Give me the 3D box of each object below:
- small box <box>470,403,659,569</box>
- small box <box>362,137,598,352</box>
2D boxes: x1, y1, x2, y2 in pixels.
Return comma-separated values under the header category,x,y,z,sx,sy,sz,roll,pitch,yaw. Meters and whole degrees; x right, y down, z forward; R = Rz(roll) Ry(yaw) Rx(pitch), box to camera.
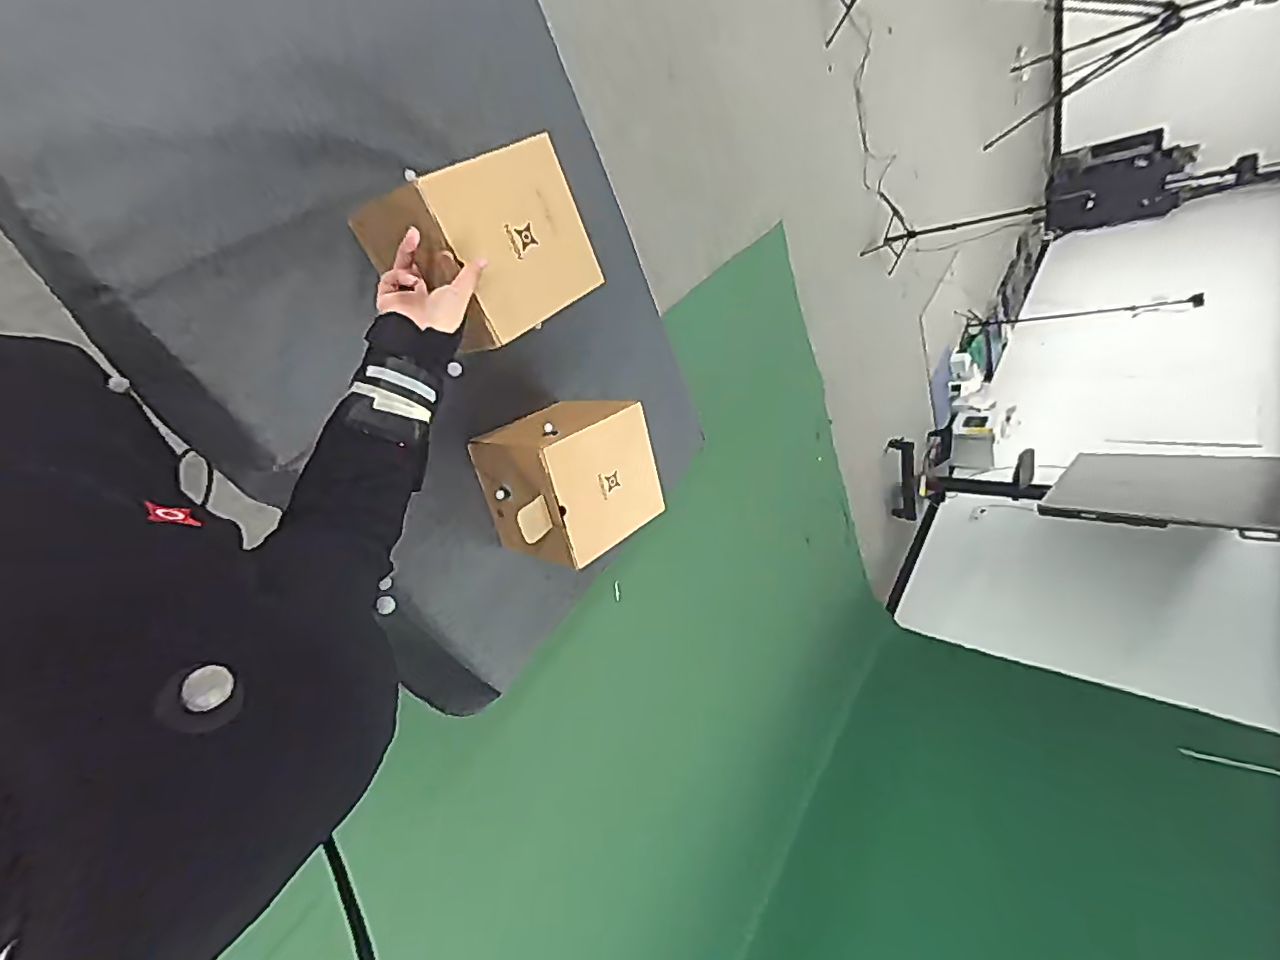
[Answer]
category,x,y,z,sx,sy,sz,roll,pitch,yaw
small box,-0.102,-0.005,0.753,0.179,0.176,0.168,-33,119,-39
small box,-0.187,-0.260,0.623,0.179,0.176,0.168,-47,128,-33
